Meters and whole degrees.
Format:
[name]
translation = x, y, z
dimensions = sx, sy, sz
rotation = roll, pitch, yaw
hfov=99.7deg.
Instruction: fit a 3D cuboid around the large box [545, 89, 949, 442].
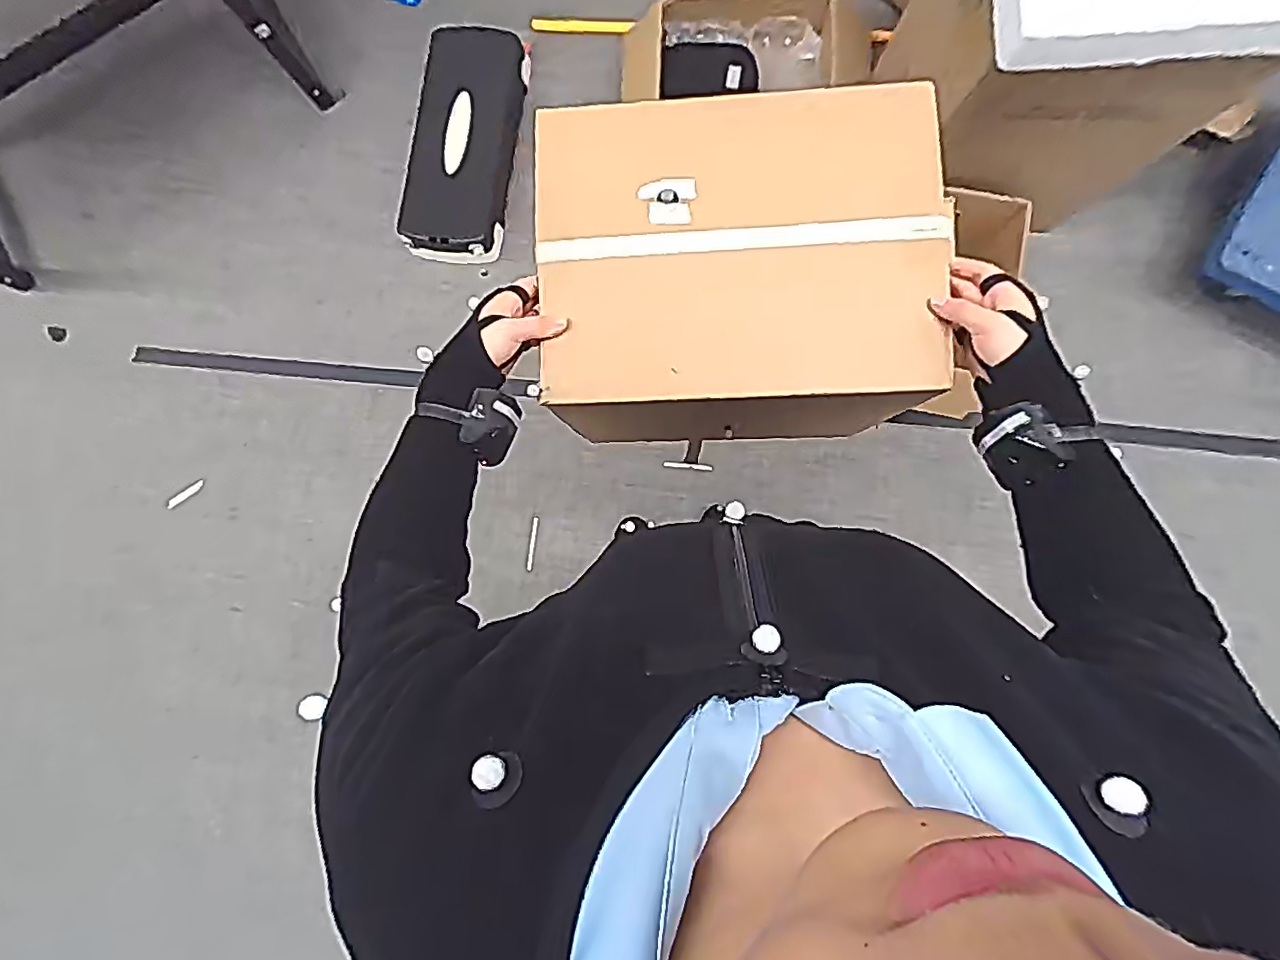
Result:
[large box]
translation = 0.115, -0.226, 0.700
dimensions = 0.408, 0.320, 0.320
rotation = -1, 85, 5
